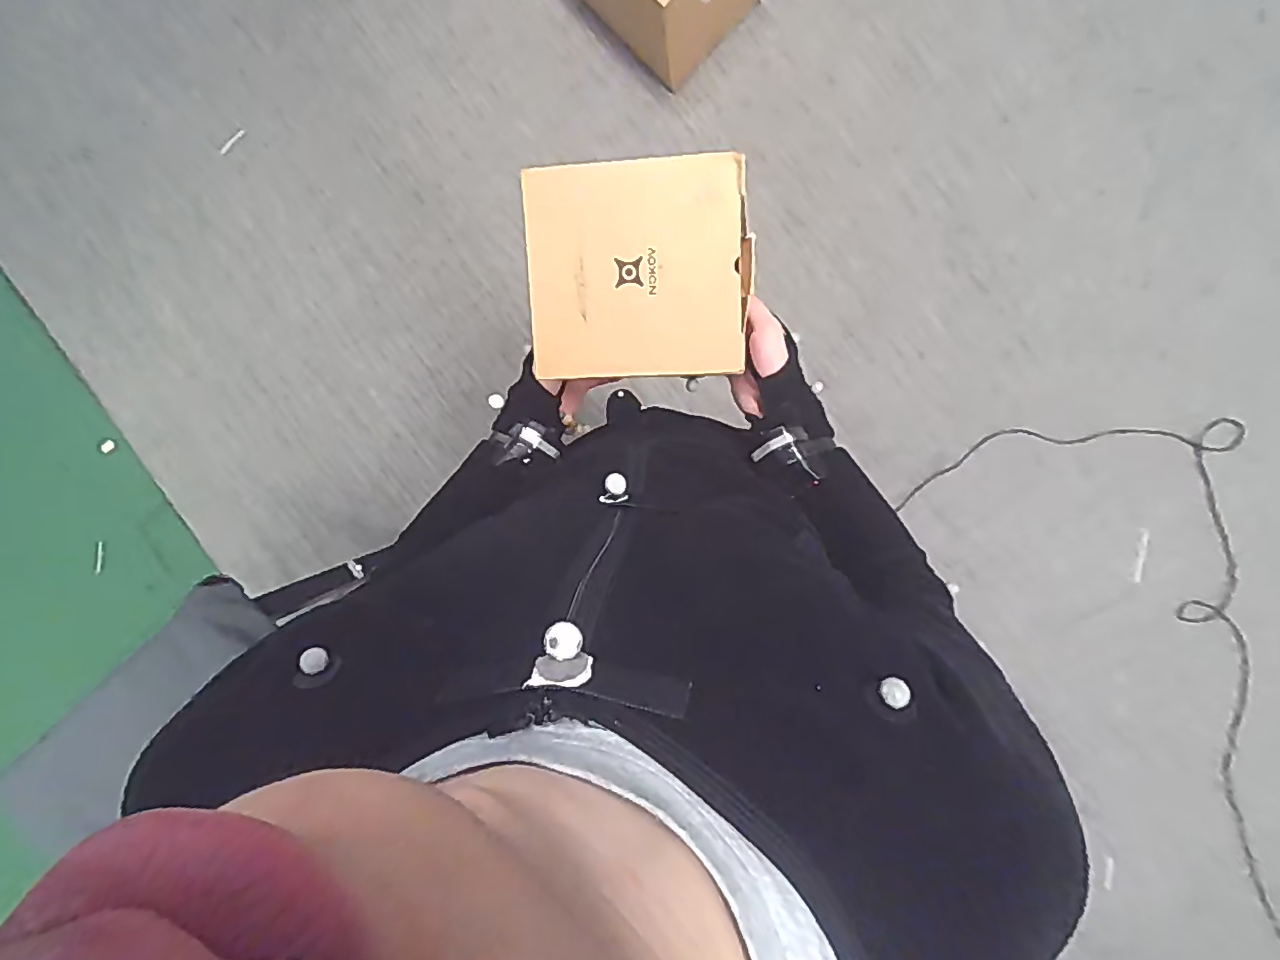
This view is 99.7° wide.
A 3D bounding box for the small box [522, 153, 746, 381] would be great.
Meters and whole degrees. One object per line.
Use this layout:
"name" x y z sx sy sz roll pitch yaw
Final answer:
"small box" 0.005 -0.181 0.510 0.179 0.176 0.168 -1 100 8
